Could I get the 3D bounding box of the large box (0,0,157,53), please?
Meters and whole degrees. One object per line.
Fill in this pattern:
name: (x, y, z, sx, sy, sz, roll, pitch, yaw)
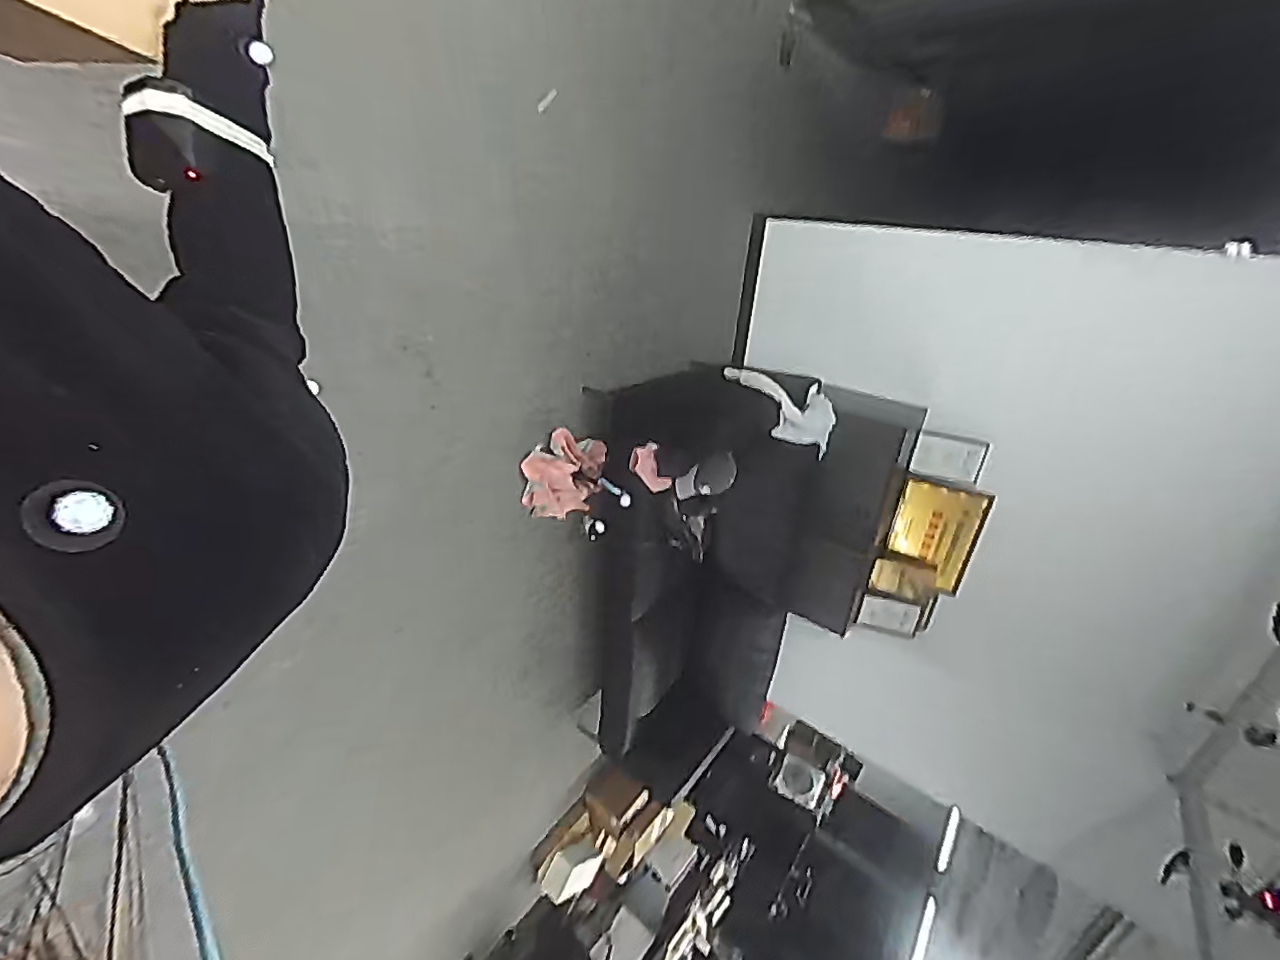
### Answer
large box: (-0.556, -0.492, 0.272, 0.408, 0.320, 0.320, -11, 119, -59)
